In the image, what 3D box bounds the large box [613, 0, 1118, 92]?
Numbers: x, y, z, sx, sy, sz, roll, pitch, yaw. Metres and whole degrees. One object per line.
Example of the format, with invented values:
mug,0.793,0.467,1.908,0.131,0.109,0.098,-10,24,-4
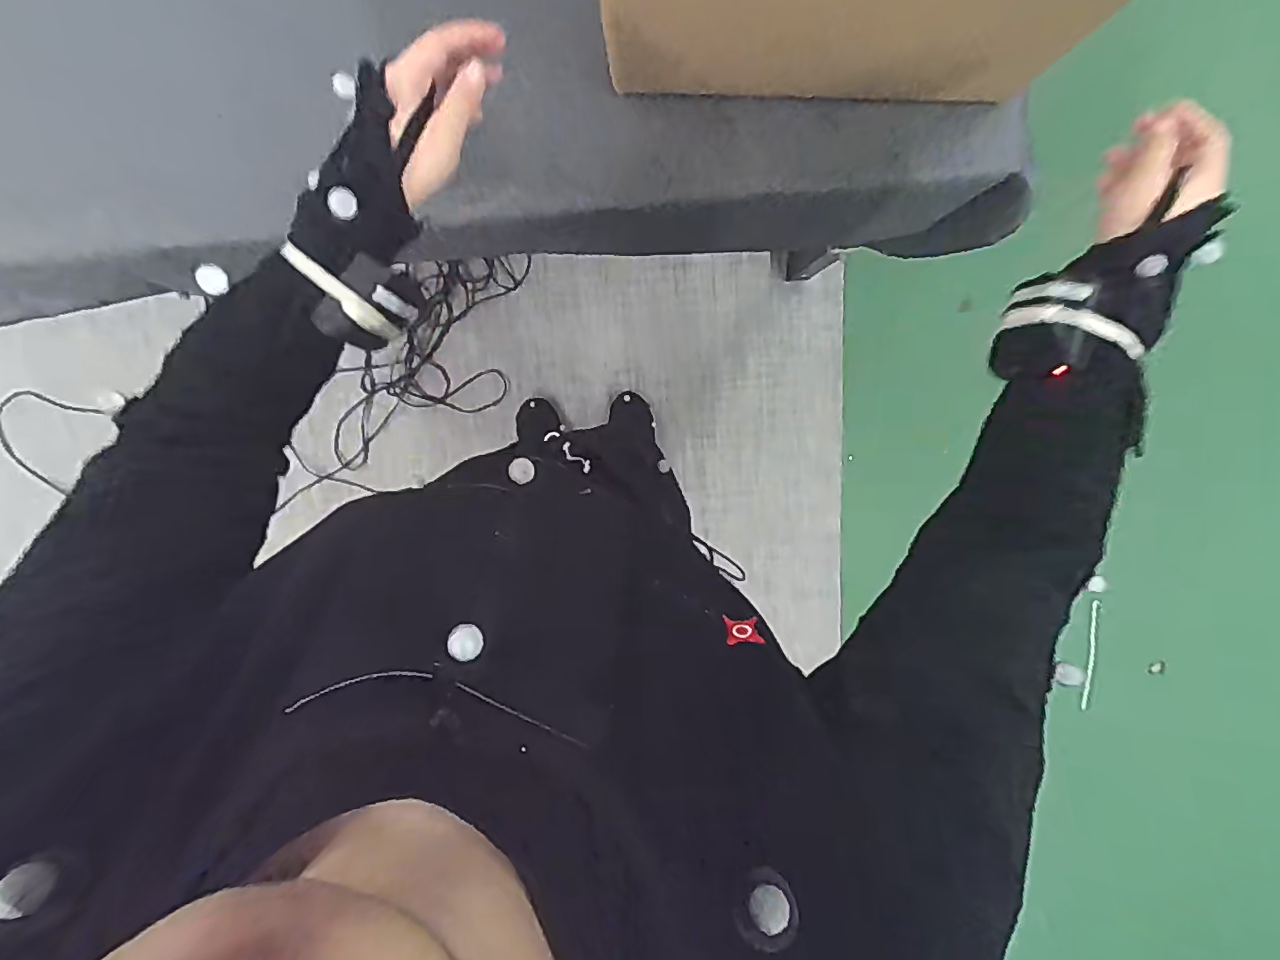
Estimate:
large box,0.176,-0.516,0.375,0.408,0.320,0.320,1,101,0
